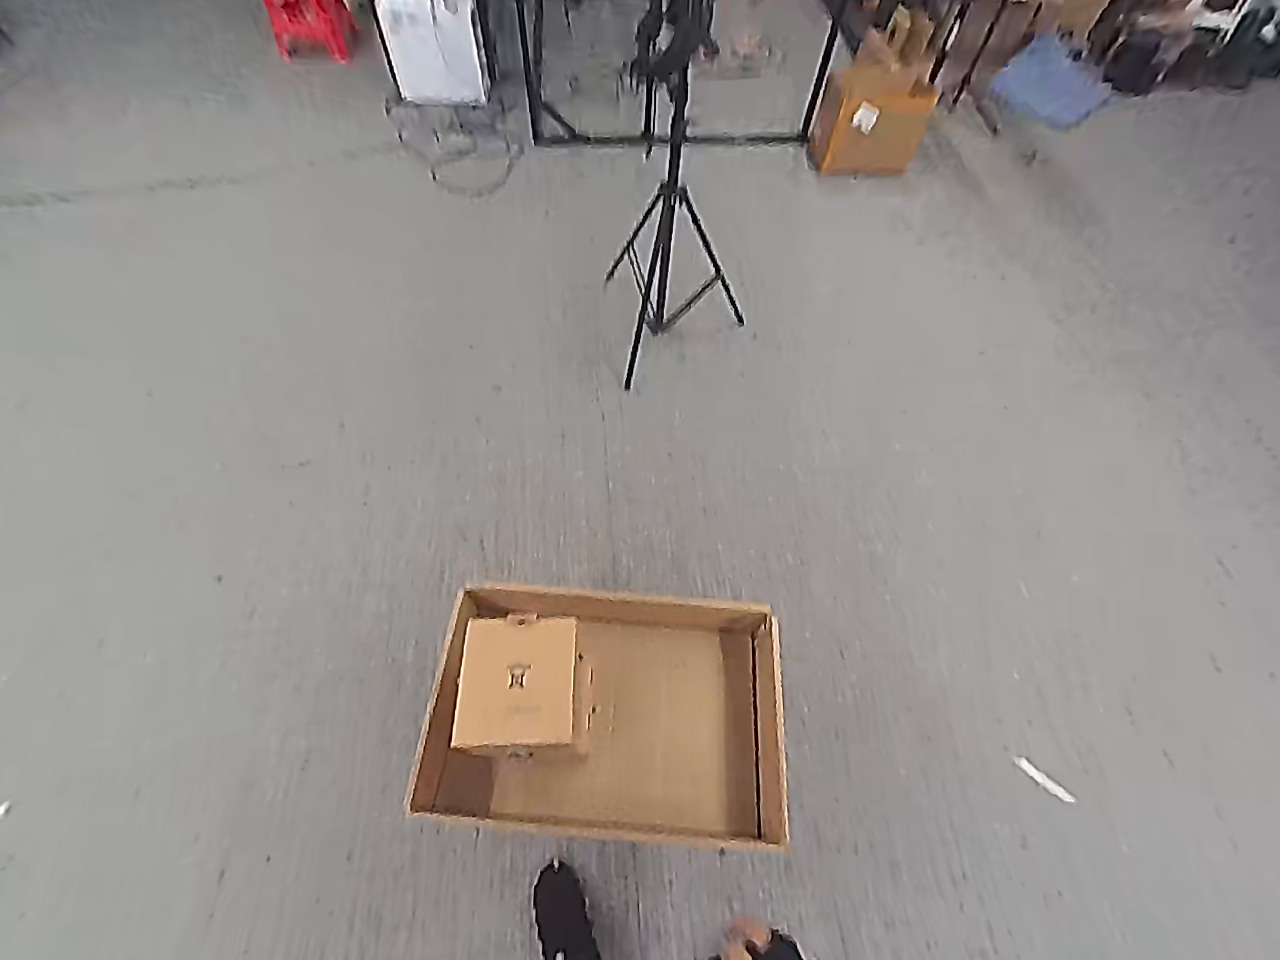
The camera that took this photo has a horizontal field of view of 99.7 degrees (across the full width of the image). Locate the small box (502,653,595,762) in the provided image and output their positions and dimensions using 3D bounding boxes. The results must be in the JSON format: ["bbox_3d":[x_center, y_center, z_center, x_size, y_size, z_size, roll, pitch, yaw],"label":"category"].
[{"bbox_3d":[-0.176,0.416,0.986,0.179,0.176,0.168,3,59,-2],"label":"small box"}]

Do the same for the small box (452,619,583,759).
[{"bbox_3d":[-0.179,0.330,0.846,0.168,0.176,0.179,0,58,-2],"label":"small box"}]
